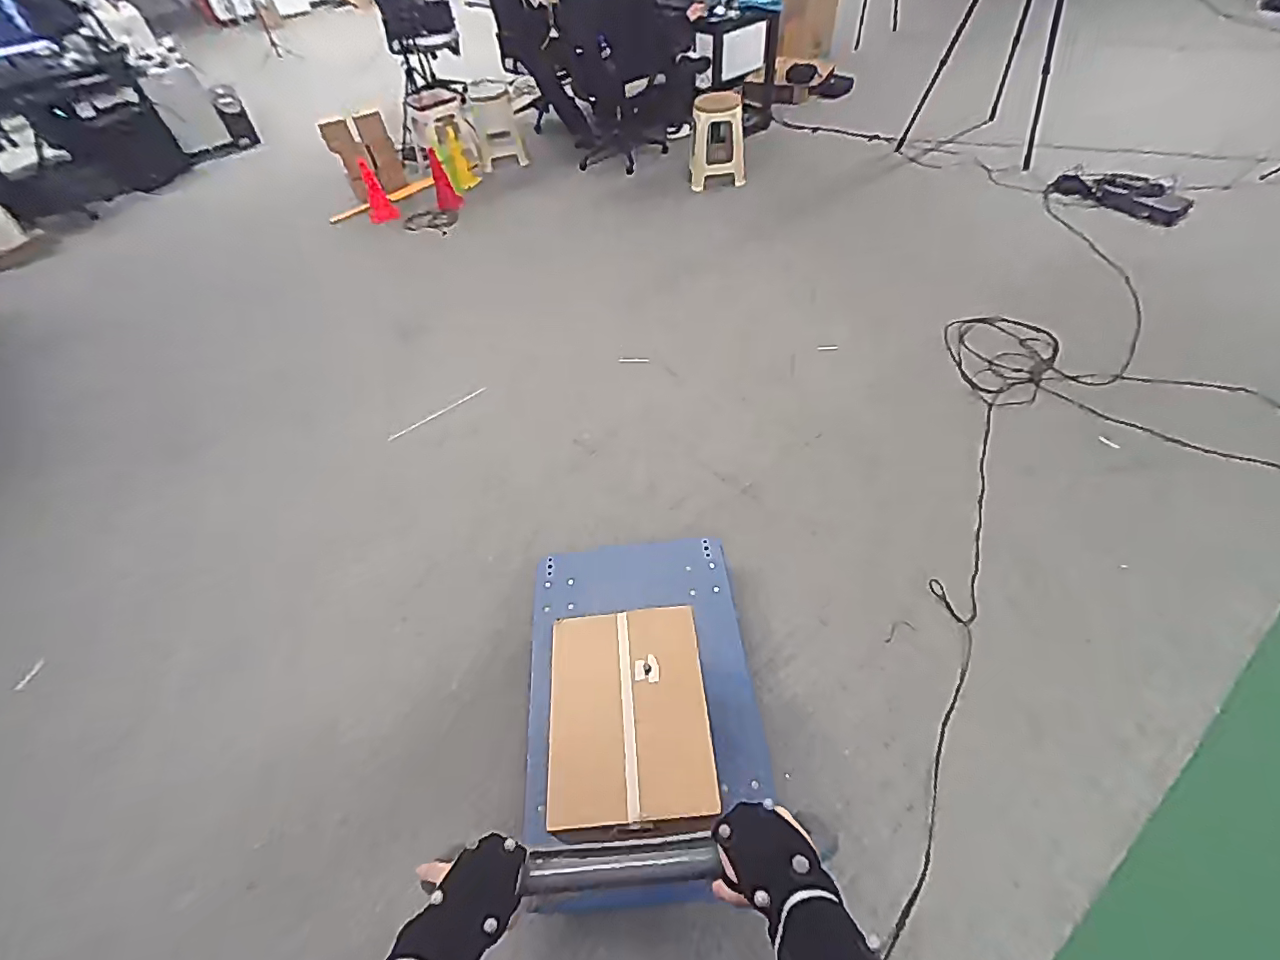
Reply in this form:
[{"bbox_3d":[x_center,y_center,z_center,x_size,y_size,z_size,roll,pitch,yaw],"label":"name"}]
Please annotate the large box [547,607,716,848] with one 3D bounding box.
[{"bbox_3d":[-0.016,0.552,1.212,0.320,0.320,0.408,-6,49,1],"label":"large box"}]
